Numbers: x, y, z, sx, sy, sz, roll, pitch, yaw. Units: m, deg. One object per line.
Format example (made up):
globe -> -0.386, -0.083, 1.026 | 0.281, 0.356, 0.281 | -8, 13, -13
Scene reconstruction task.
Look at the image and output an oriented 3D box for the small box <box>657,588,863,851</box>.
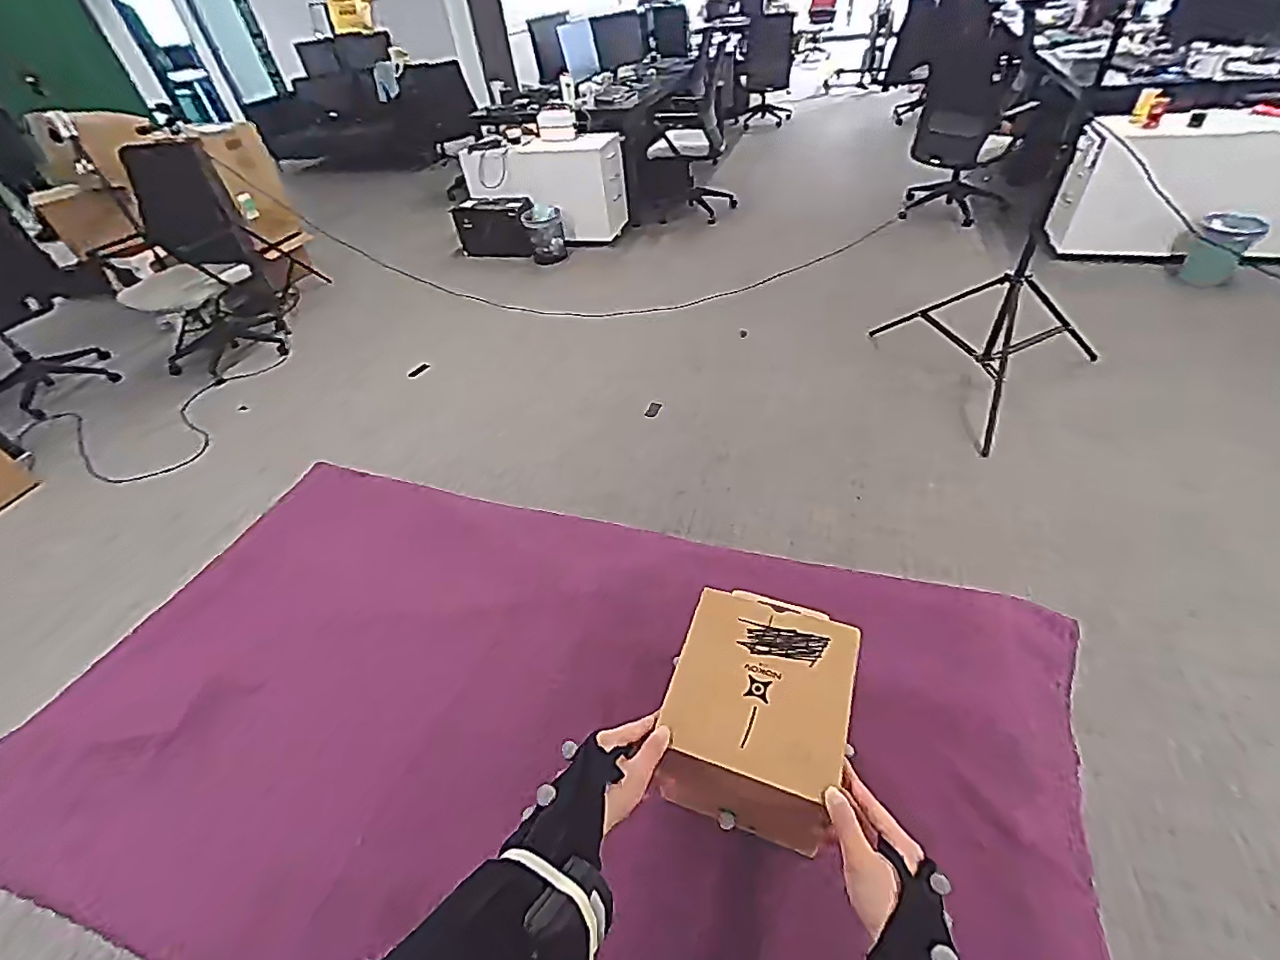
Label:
small box -> 0.126, 0.249, 0.572 | 0.168, 0.176, 0.179 | 11, 47, 19
